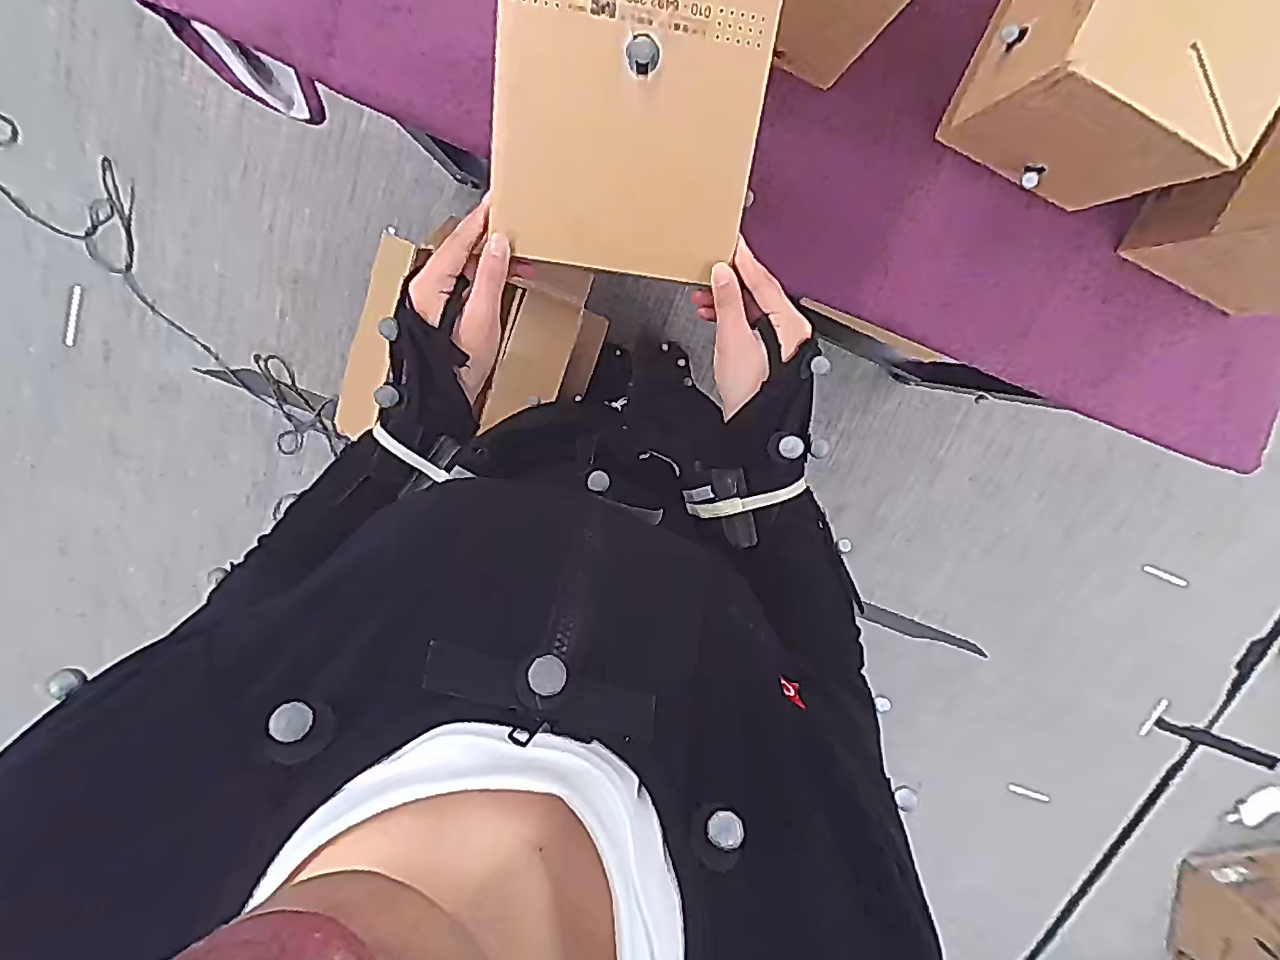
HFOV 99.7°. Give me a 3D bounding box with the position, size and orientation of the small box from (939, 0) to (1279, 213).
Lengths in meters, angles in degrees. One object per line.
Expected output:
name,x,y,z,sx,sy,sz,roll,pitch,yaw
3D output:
small box,0.420,-0.371,0.476,0.179,0.176,0.168,22,102,-8

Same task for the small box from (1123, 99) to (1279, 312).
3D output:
small box,0.641,-0.271,0.517,0.179,0.176,0.168,22,101,-9

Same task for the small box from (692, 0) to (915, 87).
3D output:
small box,0.153,-0.474,0.435,0.168,0.176,0.179,21,103,-9
